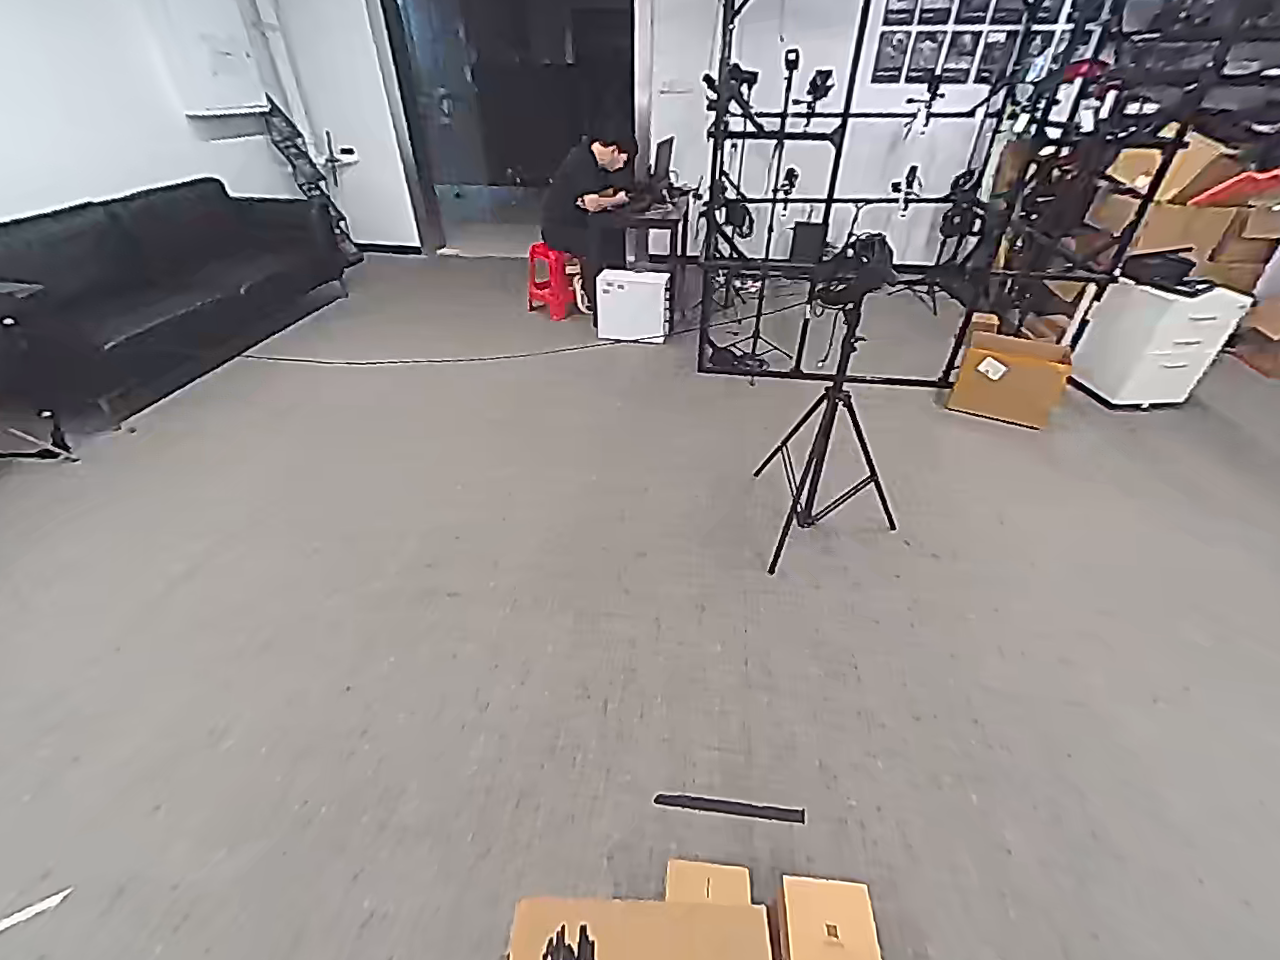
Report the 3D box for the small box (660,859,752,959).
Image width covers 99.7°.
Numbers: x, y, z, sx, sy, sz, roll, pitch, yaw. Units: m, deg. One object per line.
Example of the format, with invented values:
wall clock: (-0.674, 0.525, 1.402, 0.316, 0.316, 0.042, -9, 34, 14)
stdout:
small box: (0.127, 0.889, 1.064, 0.168, 0.176, 0.179, 4, 36, 5)
